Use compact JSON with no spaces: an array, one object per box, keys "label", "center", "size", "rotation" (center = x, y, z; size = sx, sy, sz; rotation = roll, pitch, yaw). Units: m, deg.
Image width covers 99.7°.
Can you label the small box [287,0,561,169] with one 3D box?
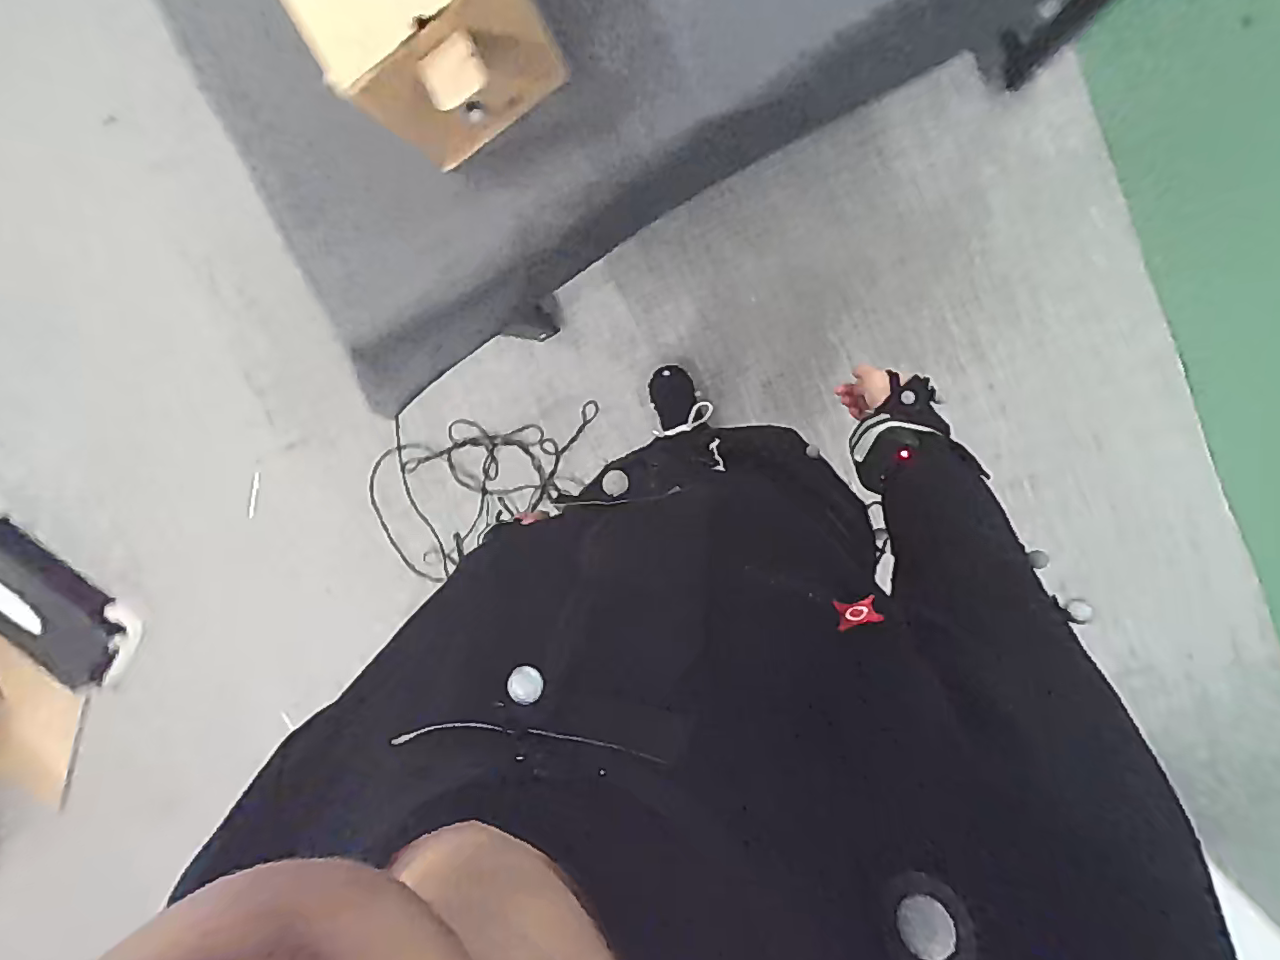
[{"label":"small box","center":[-0.197,-0.427,0.483],"size":[0.168,0.176,0.179],"rotation":[-31,95,12]}]
